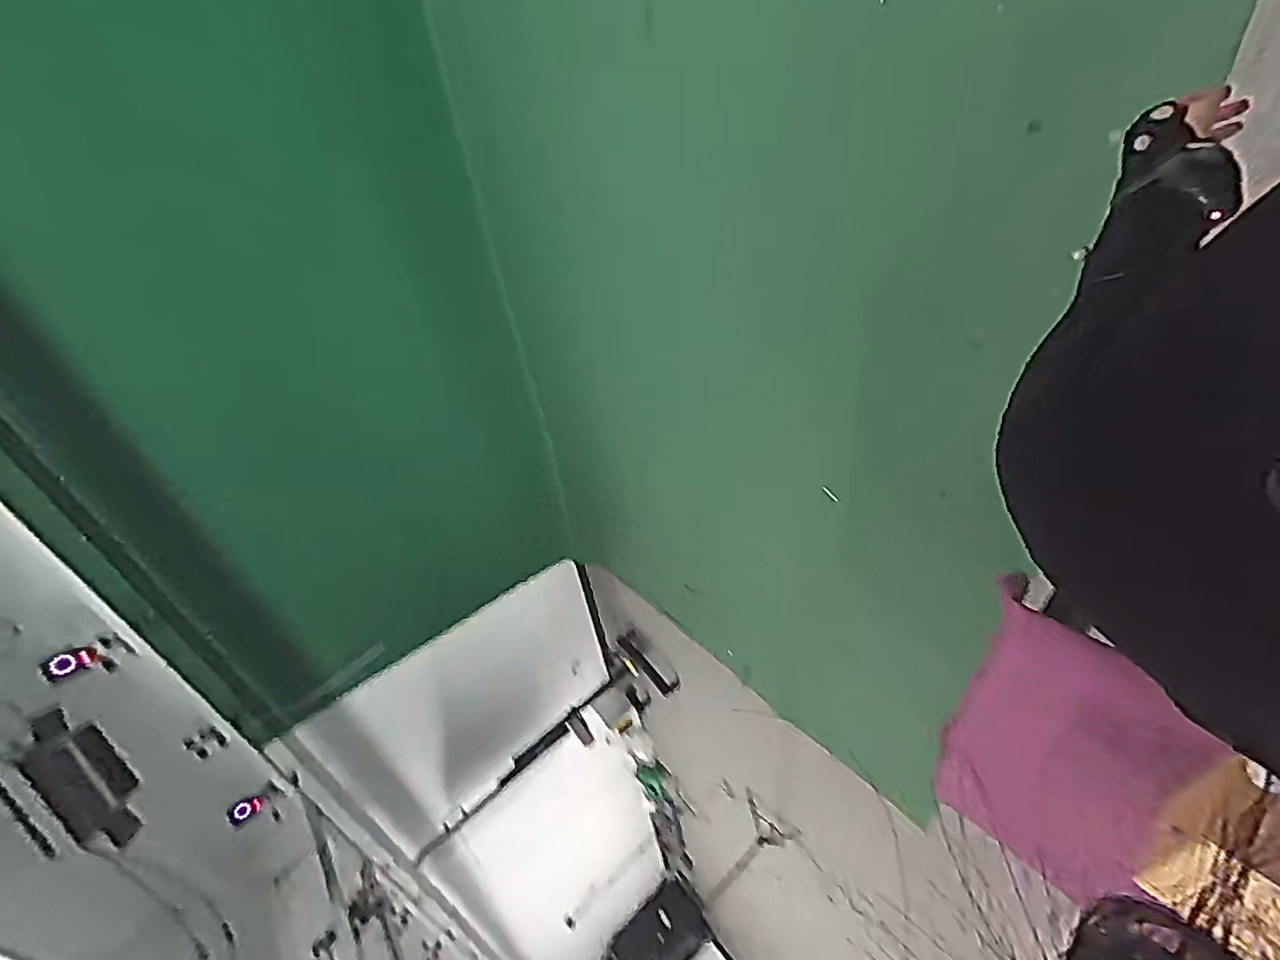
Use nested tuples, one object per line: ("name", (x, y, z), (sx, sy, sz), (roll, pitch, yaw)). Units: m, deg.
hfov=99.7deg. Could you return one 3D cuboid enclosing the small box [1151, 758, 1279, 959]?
("small box", (0.809, 0.494, 0.679), (0.168, 0.176, 0.179), (35, 144, 38))
